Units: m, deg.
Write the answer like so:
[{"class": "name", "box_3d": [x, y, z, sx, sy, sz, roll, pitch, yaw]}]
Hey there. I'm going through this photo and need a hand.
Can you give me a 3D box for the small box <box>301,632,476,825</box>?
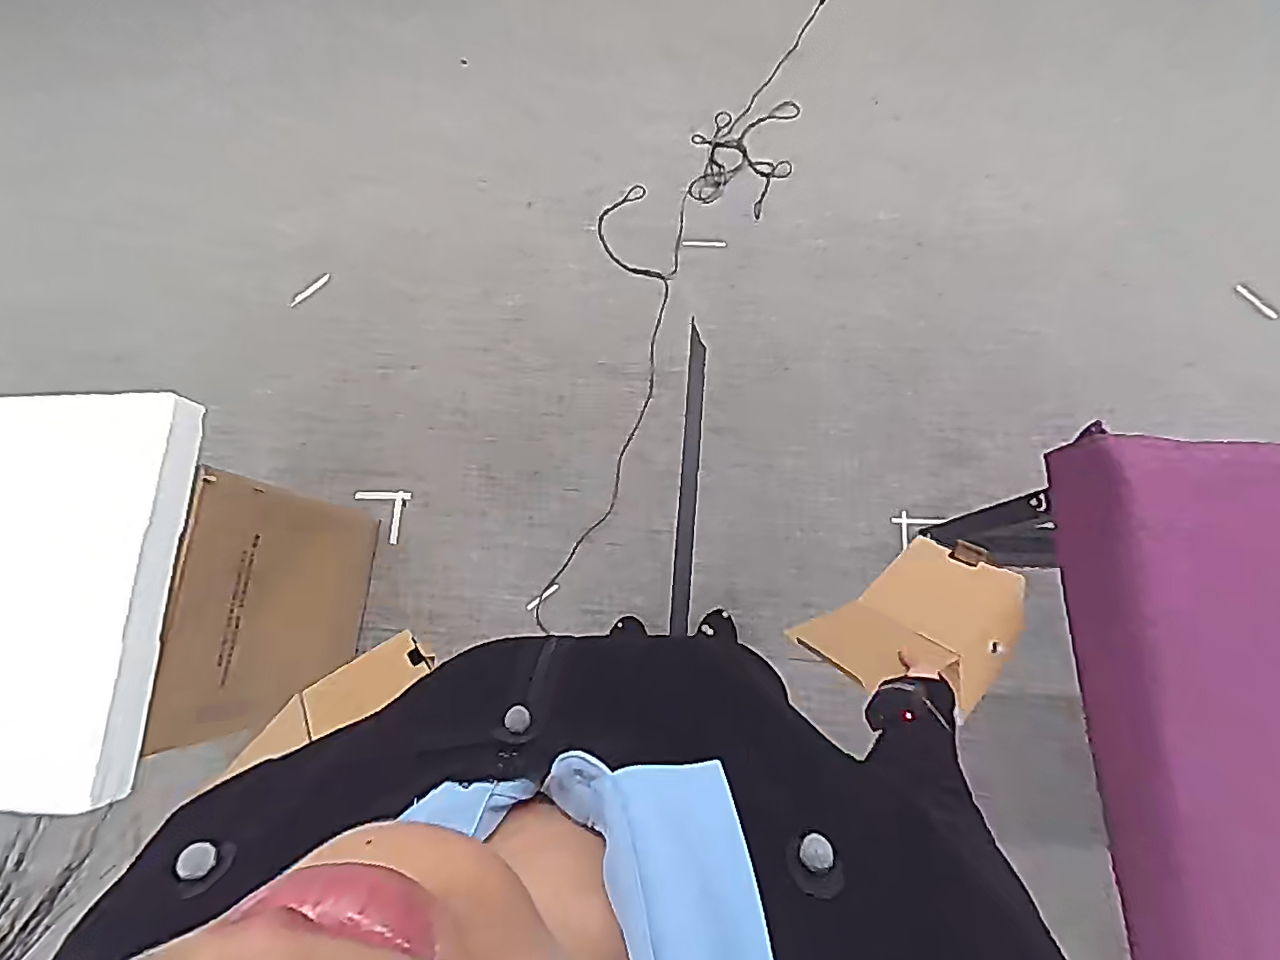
[{"class": "small box", "box_3d": [-0.386, 0.379, 0.837, 0.179, 0.176, 0.168, -29, 31, -27]}]
